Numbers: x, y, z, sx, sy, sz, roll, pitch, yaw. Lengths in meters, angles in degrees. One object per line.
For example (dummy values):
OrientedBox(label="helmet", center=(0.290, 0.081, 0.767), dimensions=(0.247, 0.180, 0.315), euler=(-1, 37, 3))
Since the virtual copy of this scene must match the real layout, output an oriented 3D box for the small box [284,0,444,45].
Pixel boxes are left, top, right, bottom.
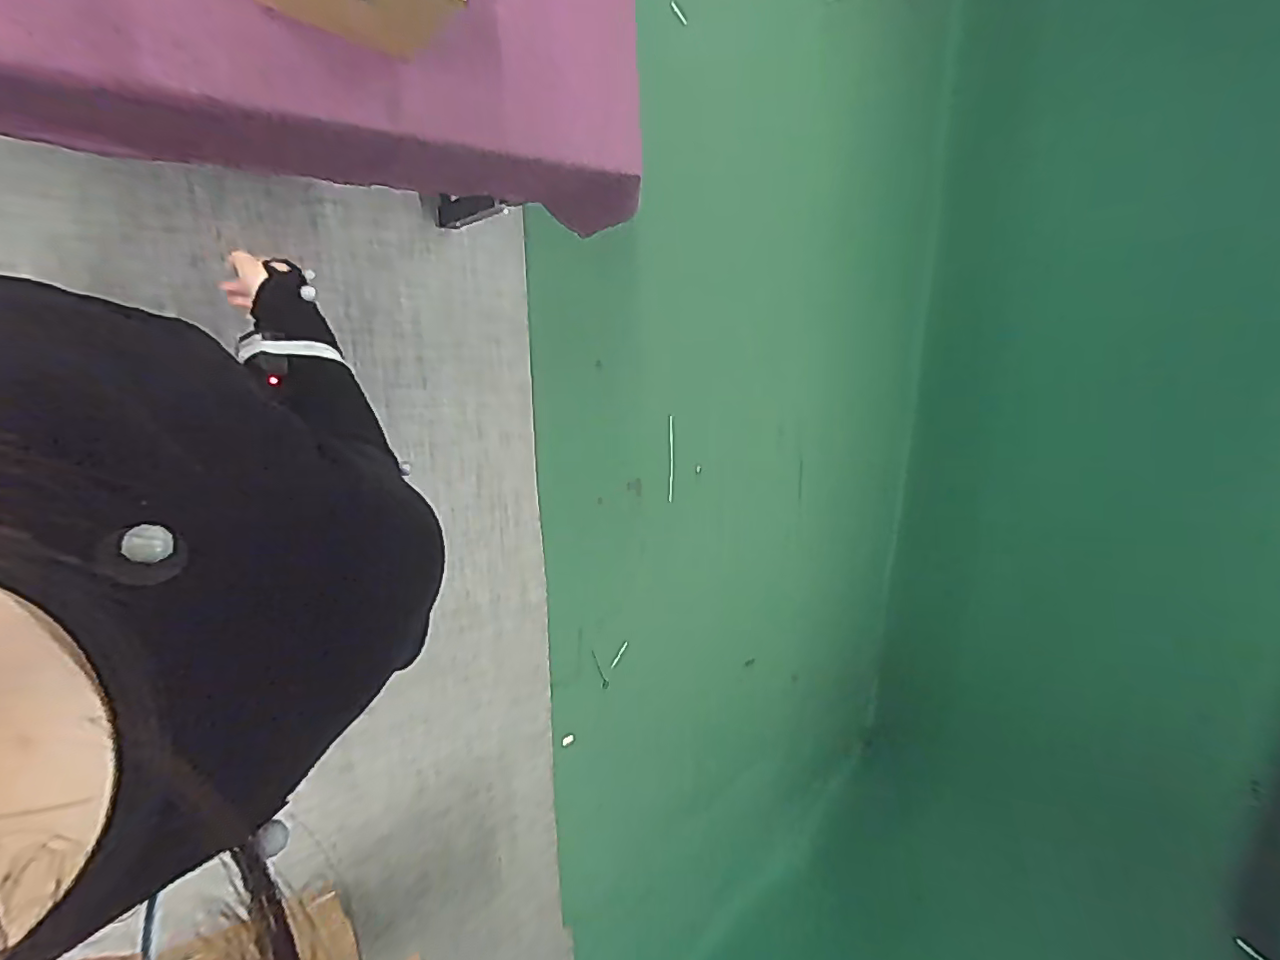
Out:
OrientedBox(label="small box", center=(-0.303, -0.604, 0.565), dimensions=(0.179, 0.176, 0.168), euler=(-10, 107, -41))
